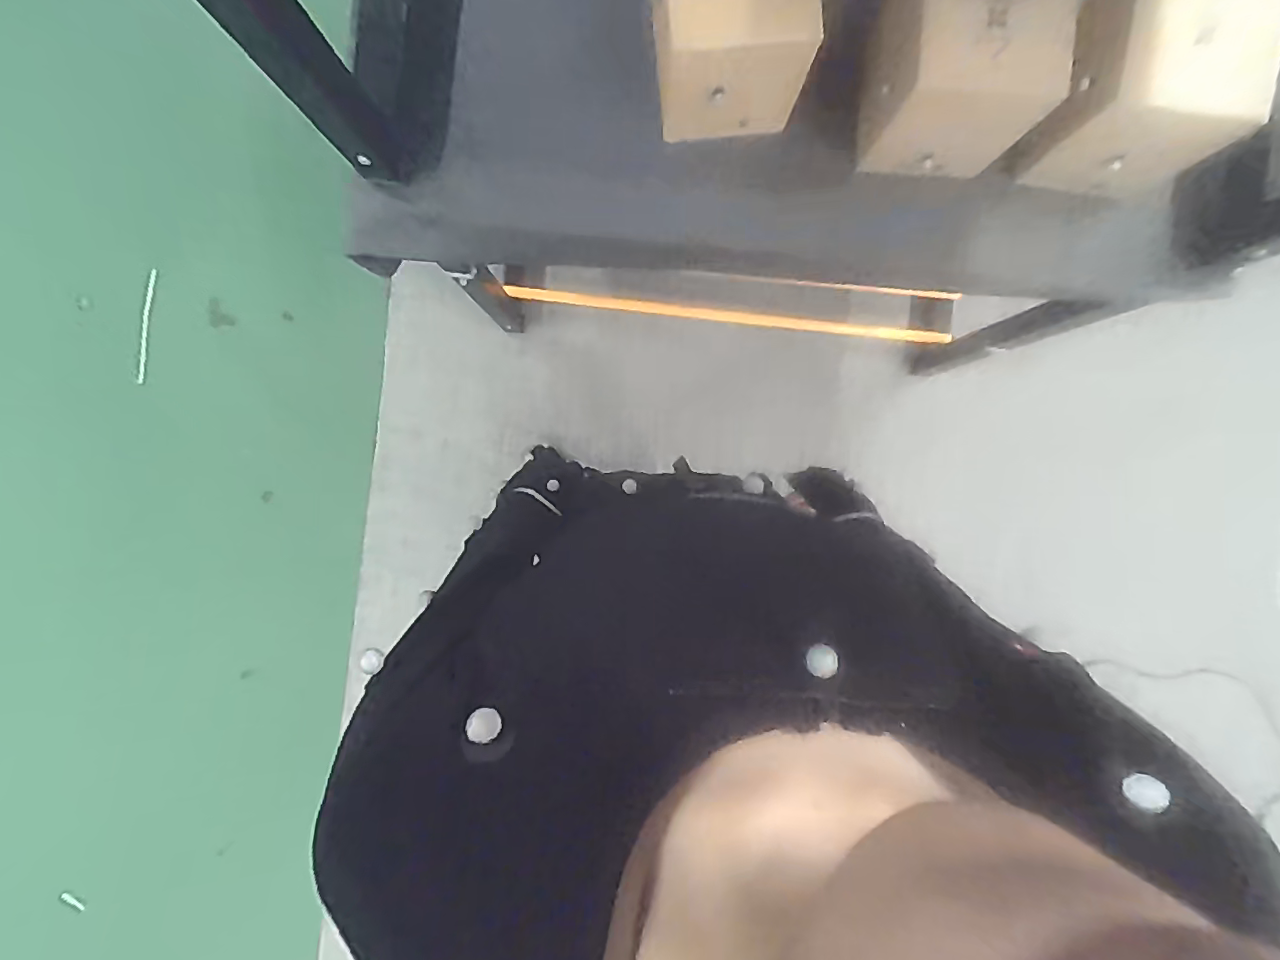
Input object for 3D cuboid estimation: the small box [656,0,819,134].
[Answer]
[{"bbox_3d":[0.108,-0.556,0.663,0.168,0.176,0.179,-5,91,0],"label":"small box"}]
